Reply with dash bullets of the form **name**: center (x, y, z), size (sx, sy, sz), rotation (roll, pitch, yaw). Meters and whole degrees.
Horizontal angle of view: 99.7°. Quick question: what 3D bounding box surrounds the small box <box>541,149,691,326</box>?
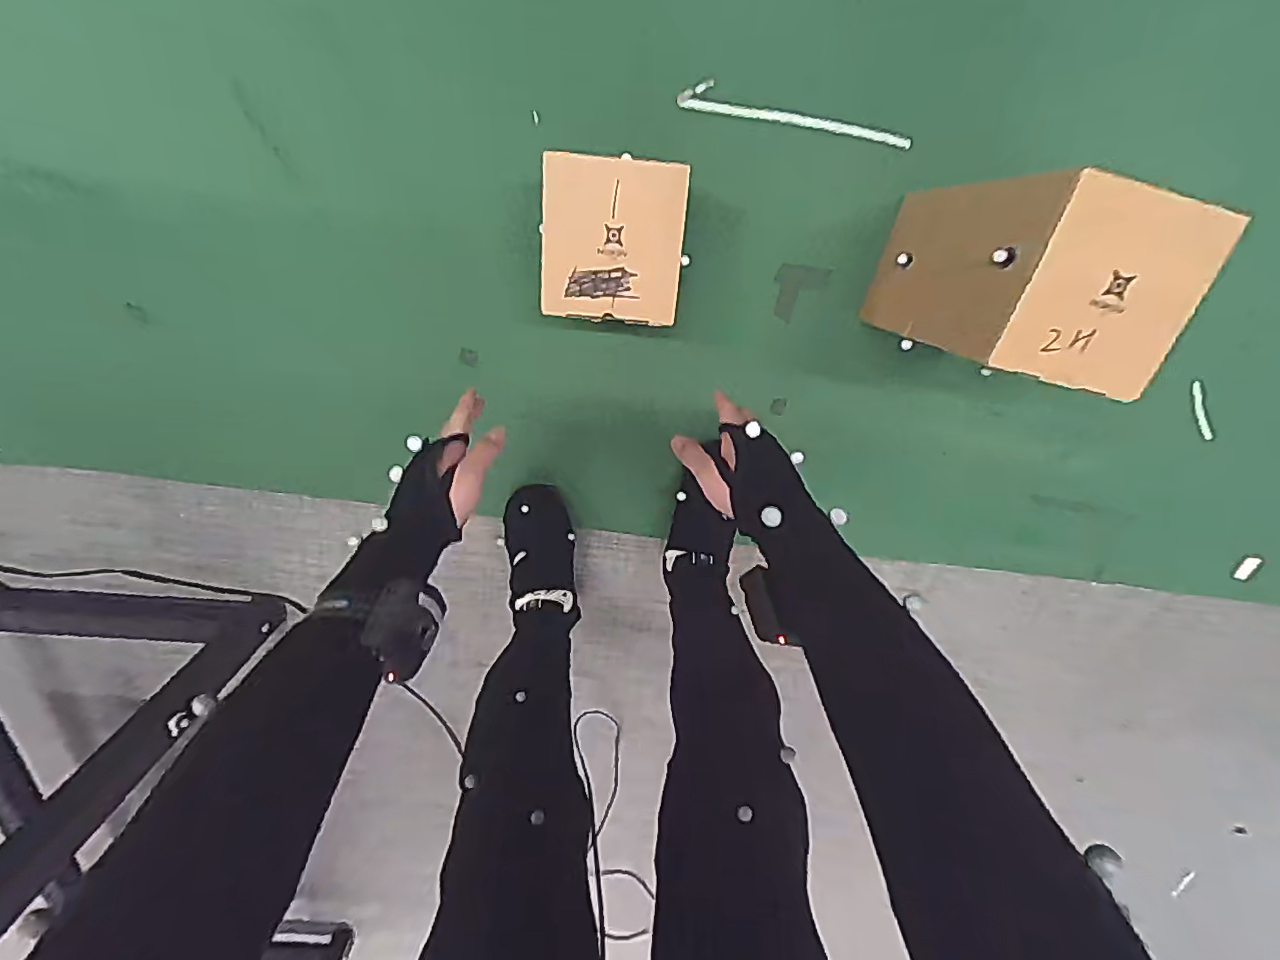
- **small box**: center (-0.031, -0.309, 0.702), size (0.168, 0.176, 0.179), rotation (5, 114, -2)

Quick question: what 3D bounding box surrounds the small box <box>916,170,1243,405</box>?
- **small box**: center (0.431, -0.202, 0.572), size (0.168, 0.176, 0.179), rotation (13, 114, -6)
